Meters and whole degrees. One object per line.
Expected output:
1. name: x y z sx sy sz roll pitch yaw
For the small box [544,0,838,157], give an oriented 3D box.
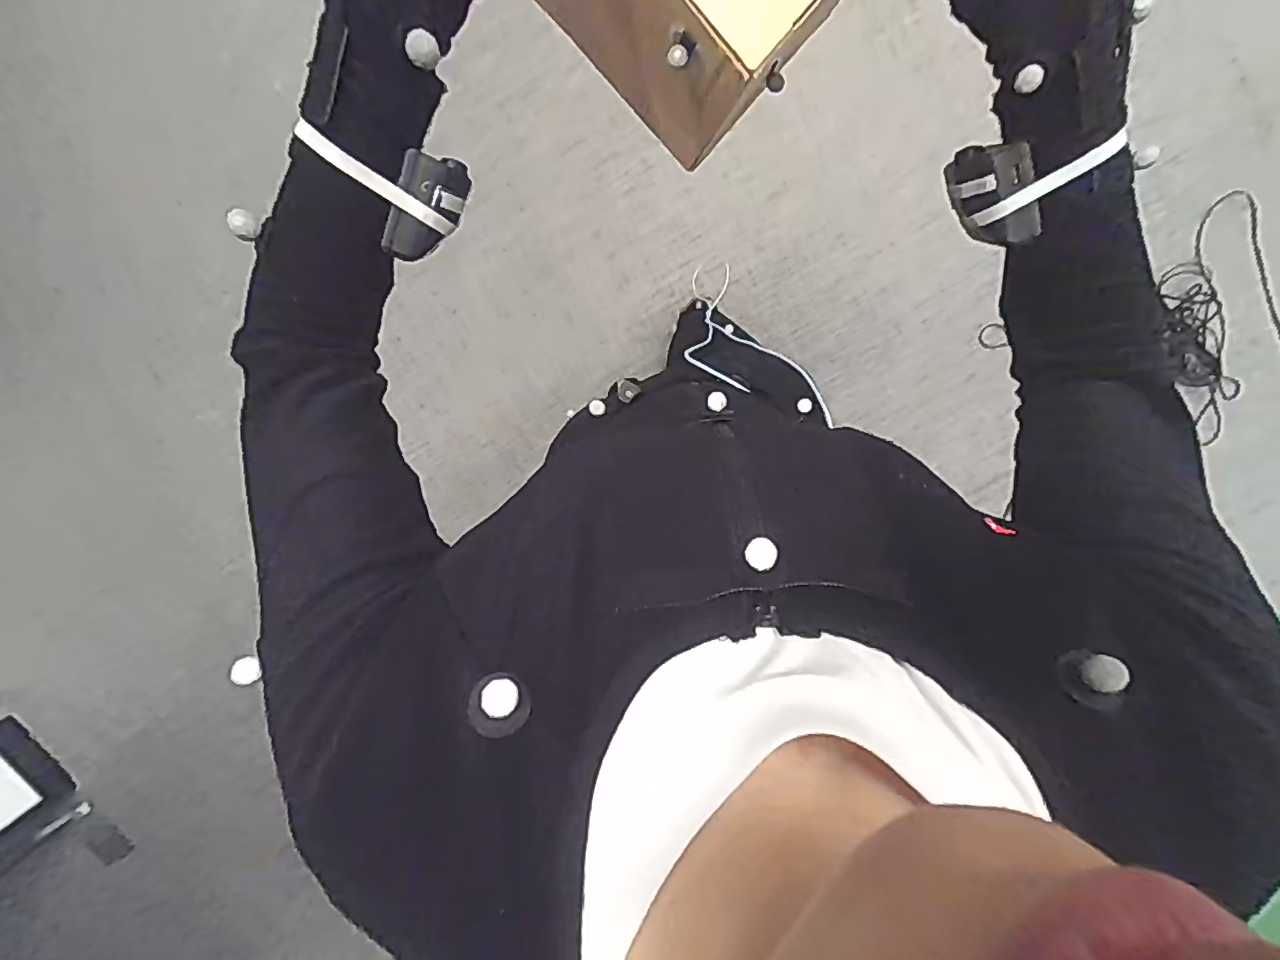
1. small box: 0.042 -0.355 0.348 0.179 0.176 0.168 42 96 -15
